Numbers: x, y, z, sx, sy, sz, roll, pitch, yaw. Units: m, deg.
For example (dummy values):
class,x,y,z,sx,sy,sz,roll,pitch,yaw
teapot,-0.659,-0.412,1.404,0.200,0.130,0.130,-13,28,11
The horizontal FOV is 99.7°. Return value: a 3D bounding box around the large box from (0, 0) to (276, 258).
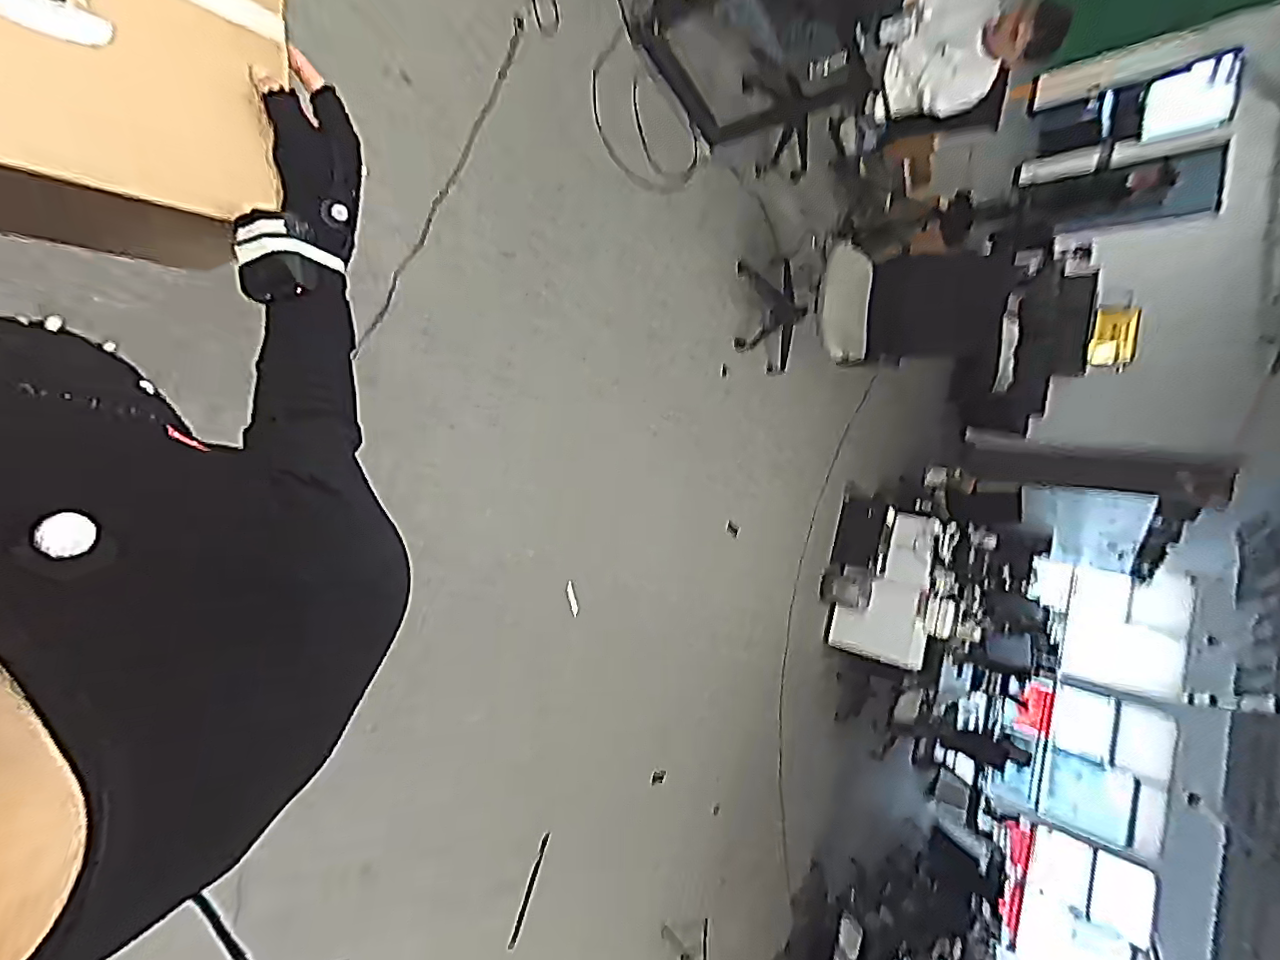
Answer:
class,x,y,z,sx,sy,sz,roll,pitch,yaw
large box,-0.561,-0.388,0.410,0.408,0.320,0.320,-6,103,-48
